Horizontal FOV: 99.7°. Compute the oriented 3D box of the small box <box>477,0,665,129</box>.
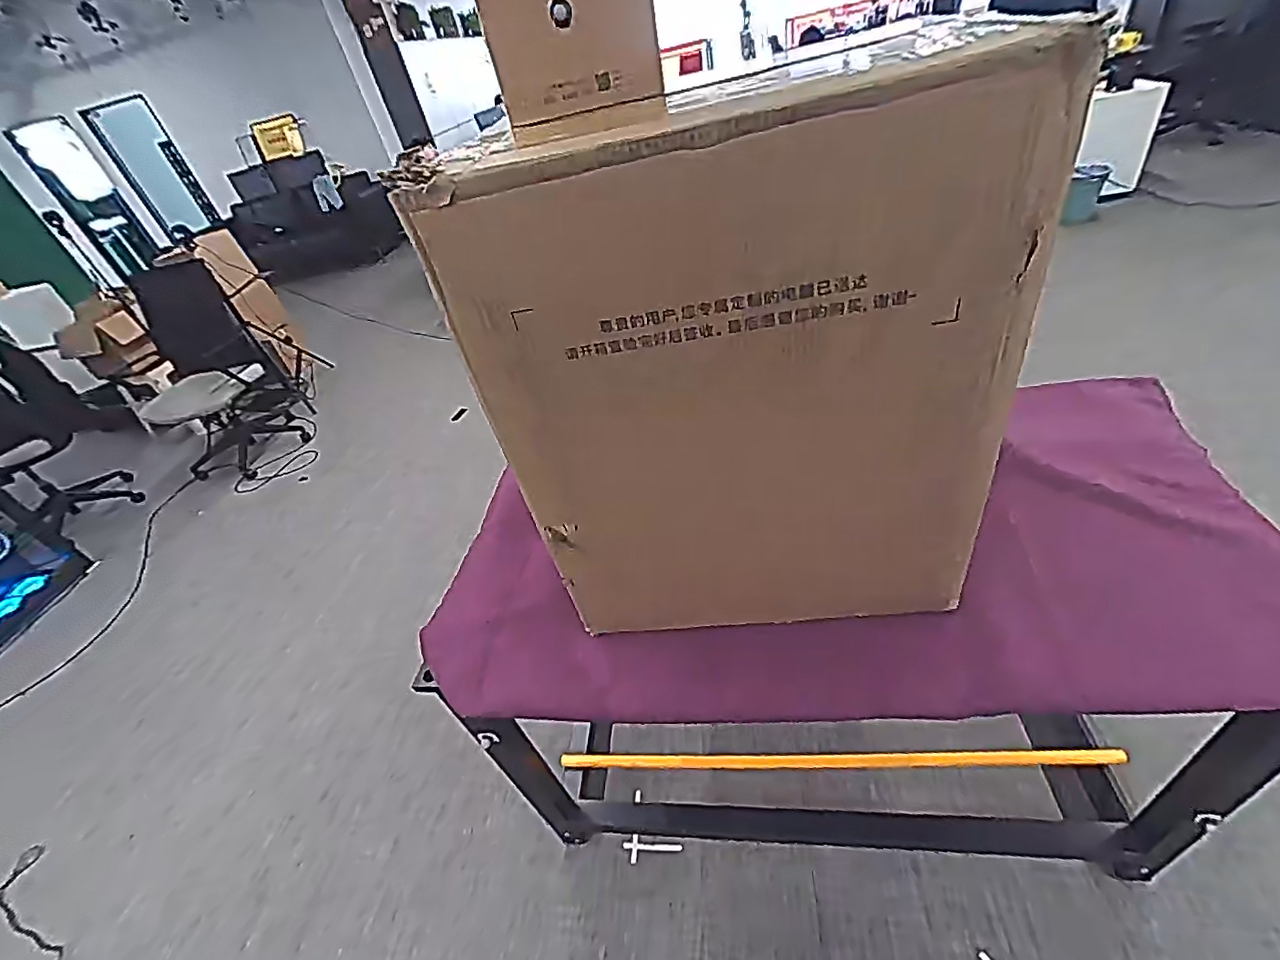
[{"bbox_3d":[-0.069,-0.489,0.571,0.168,0.176,0.179,-9,39,4],"label":"small box"}]
